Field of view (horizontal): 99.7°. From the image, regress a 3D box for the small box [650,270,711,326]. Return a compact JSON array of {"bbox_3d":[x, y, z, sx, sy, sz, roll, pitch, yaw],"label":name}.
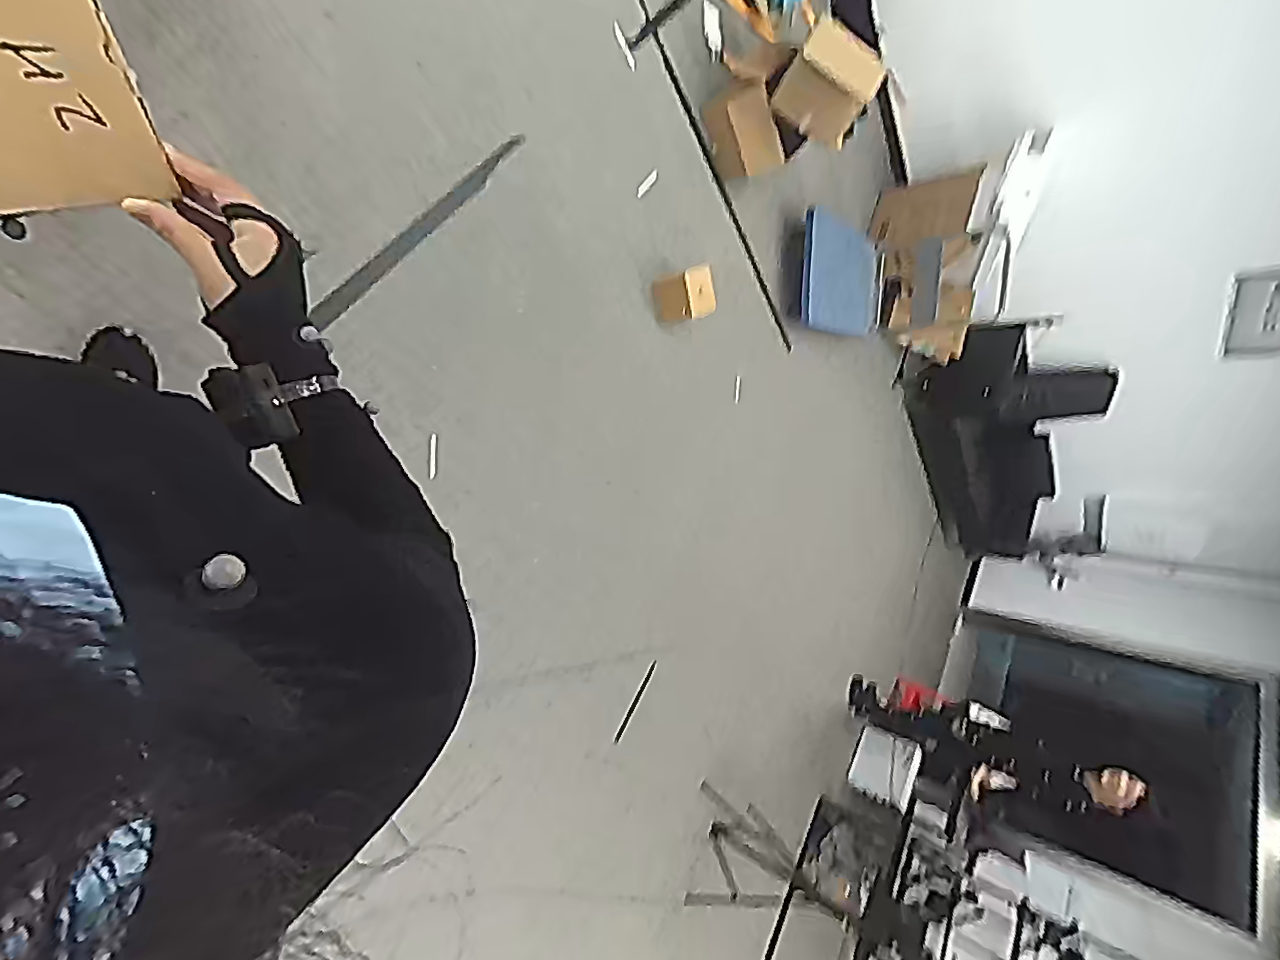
[{"bbox_3d":[0.162,-0.735,2.196,0.168,0.176,0.179,-35,120,-39],"label":"small box"}]
